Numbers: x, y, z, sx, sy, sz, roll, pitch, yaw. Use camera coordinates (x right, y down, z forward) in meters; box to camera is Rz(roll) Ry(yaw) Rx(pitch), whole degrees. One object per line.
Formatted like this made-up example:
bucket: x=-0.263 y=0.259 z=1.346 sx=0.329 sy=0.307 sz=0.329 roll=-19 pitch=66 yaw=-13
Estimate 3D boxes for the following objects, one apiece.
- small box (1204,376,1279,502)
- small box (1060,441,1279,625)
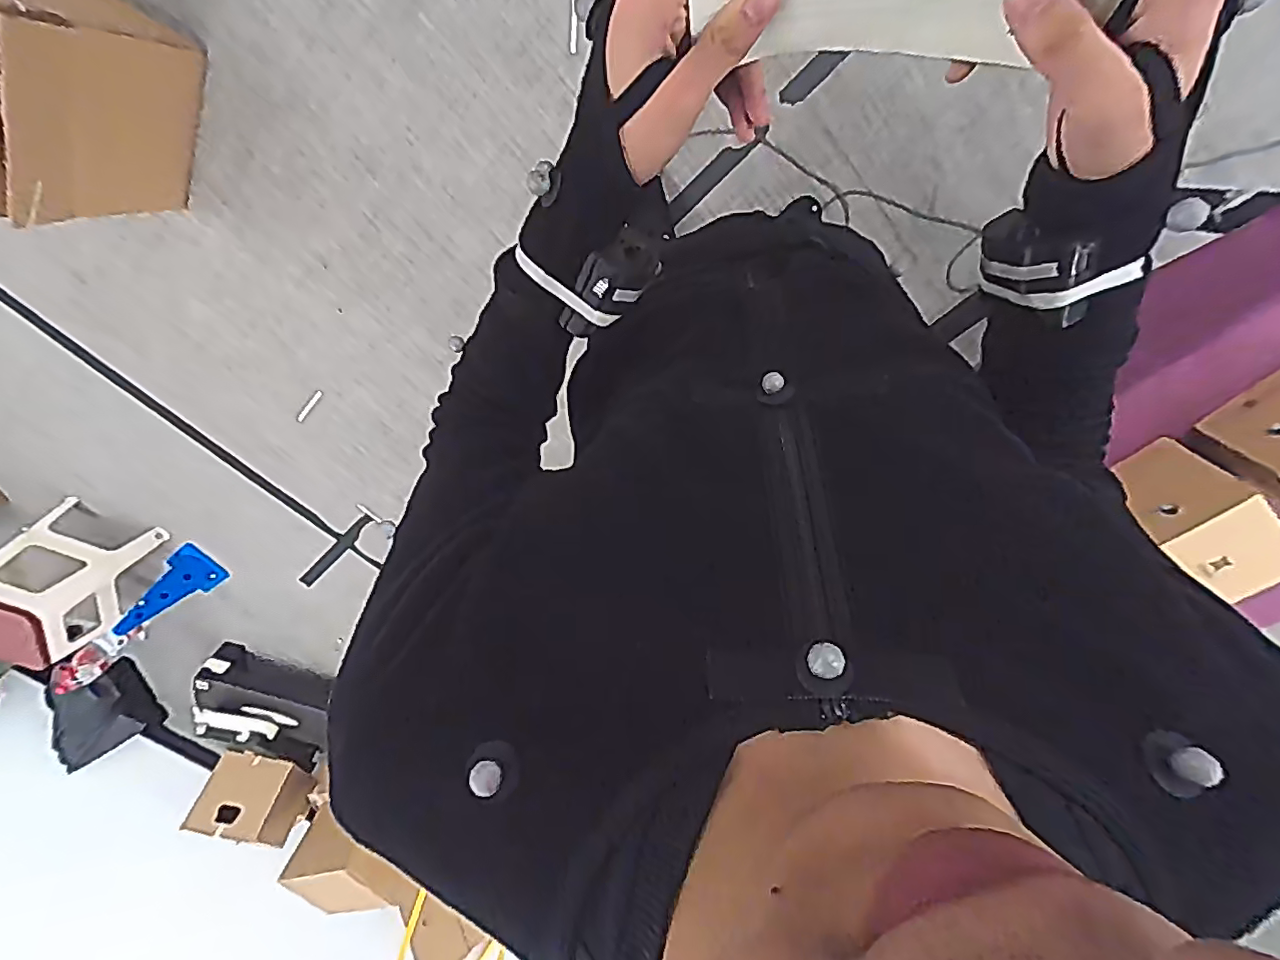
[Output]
small box: x=0.933 y=-0.046 z=0.719 sx=0.179 sy=0.176 sz=0.168 roll=36 pitch=119 yaw=-15
small box: x=0.790 y=0.073 z=0.804 sx=0.168 sy=0.176 sz=0.179 roll=39 pitch=118 yaw=-16
